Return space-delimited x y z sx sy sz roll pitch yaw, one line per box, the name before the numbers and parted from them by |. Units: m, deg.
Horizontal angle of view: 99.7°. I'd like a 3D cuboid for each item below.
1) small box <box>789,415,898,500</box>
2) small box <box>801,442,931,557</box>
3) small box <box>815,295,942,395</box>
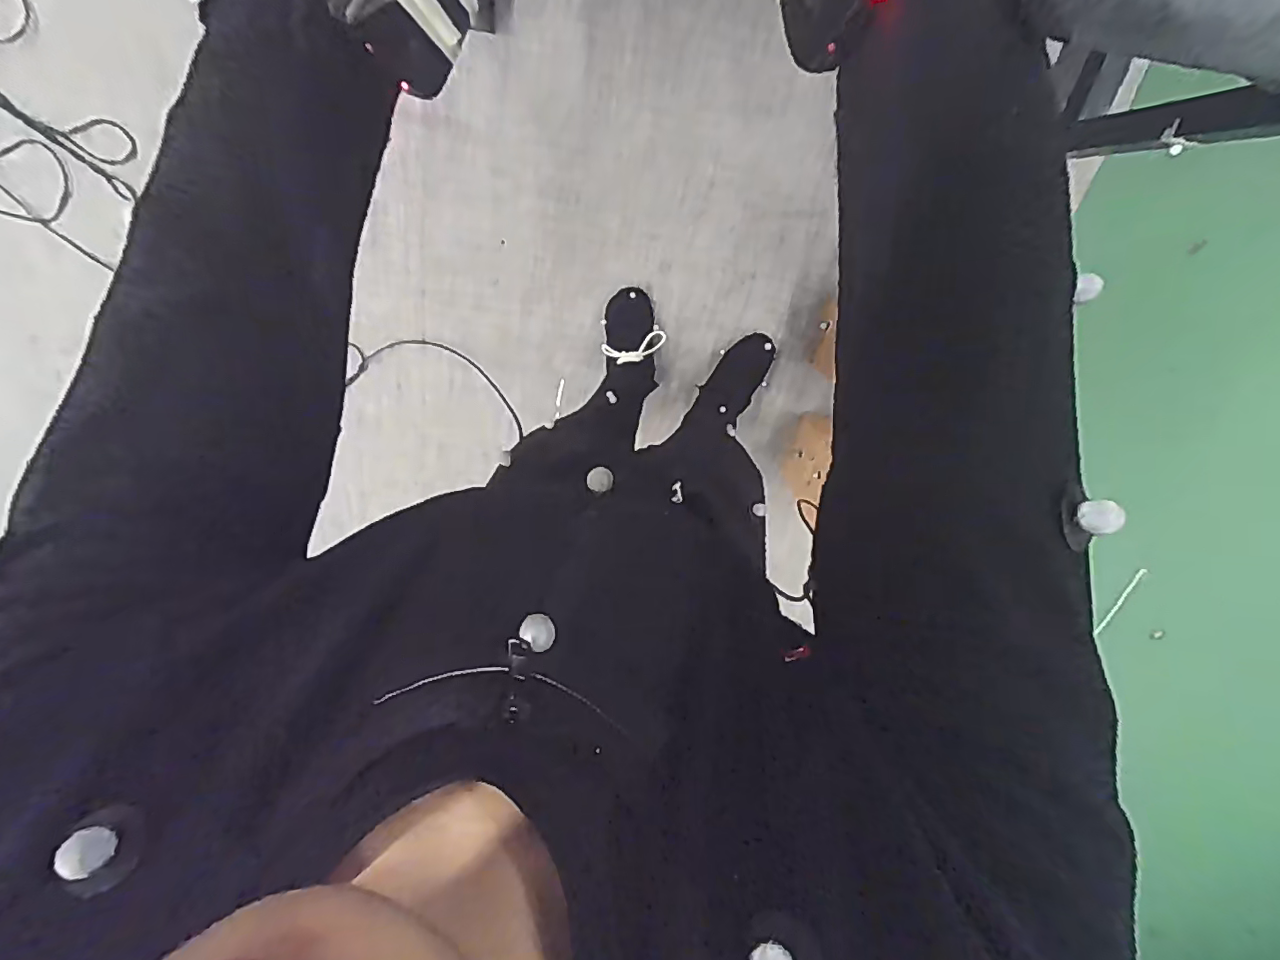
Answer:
small box | 0.472 -0.042 1.288 0.179 0.176 0.168 12 118 -2
small box | 0.466 0.036 1.144 0.179 0.176 0.168 12 117 -4
small box | 0.498 -0.295 1.159 0.179 0.176 0.168 8 116 0
